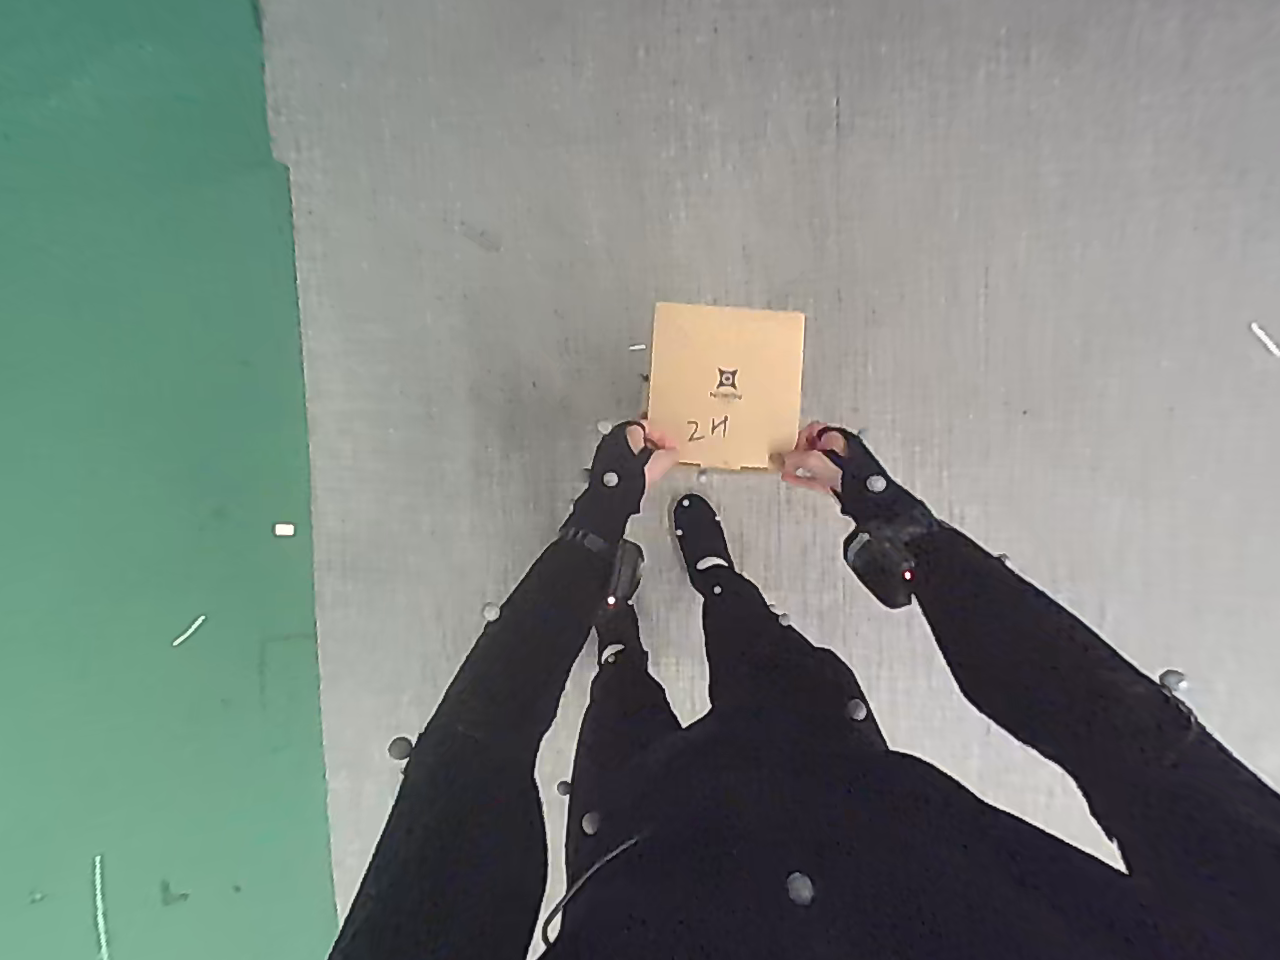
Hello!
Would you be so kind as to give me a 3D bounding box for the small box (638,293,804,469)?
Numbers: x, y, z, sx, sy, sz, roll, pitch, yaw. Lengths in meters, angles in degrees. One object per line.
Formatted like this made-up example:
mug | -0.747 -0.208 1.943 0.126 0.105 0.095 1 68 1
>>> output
small box | 0.087 -0.107 0.656 0.168 0.176 0.179 4 90 -2
